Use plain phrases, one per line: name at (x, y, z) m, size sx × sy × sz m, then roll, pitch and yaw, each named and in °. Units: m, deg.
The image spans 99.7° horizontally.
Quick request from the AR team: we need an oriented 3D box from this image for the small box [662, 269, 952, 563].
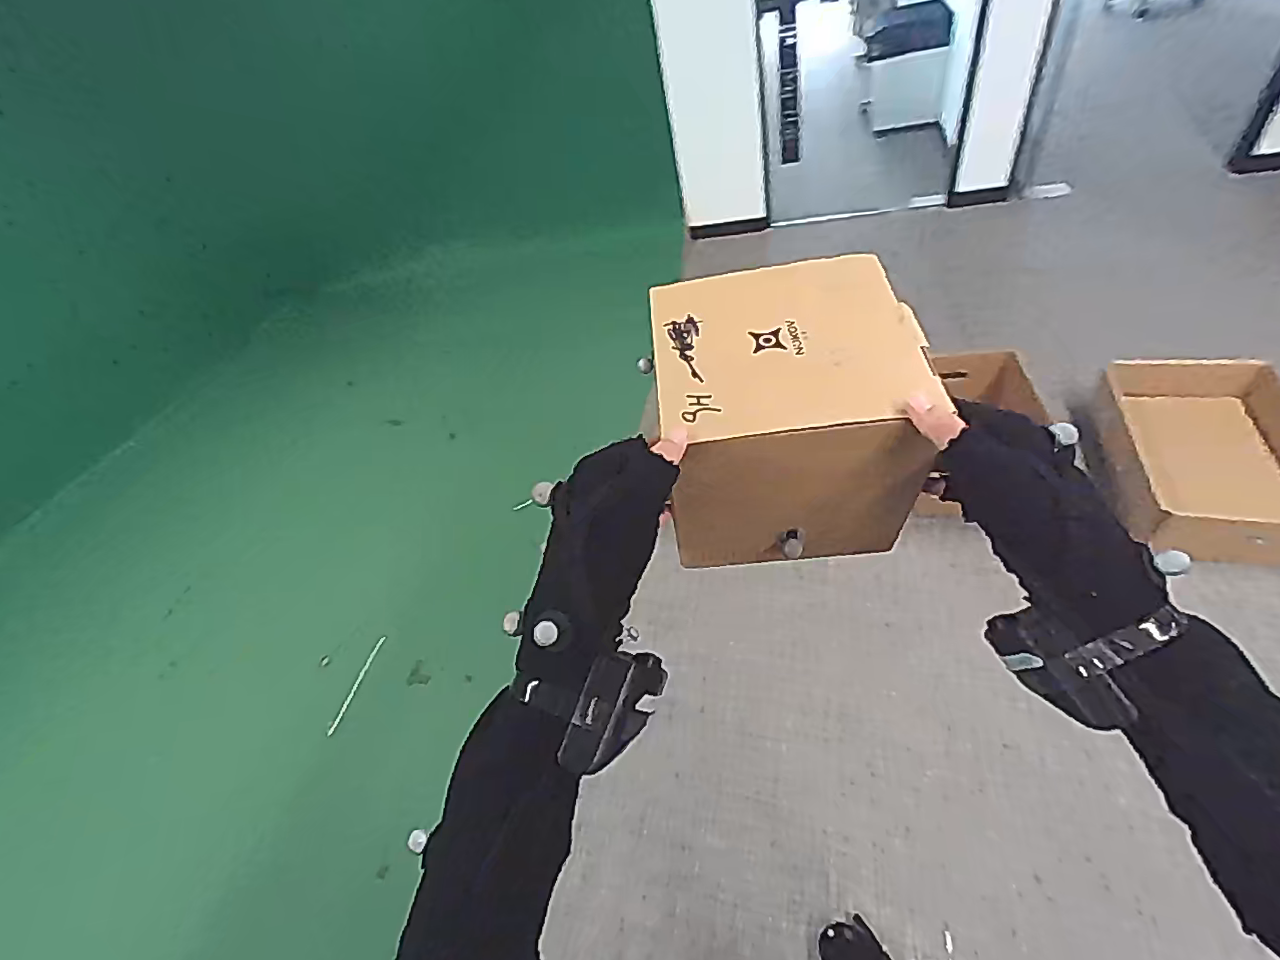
small box at (0.112, -0.044, 0.444) m, size 0.179 × 0.176 × 0.168 m, roll -5°, pitch 53°, yaw 5°
